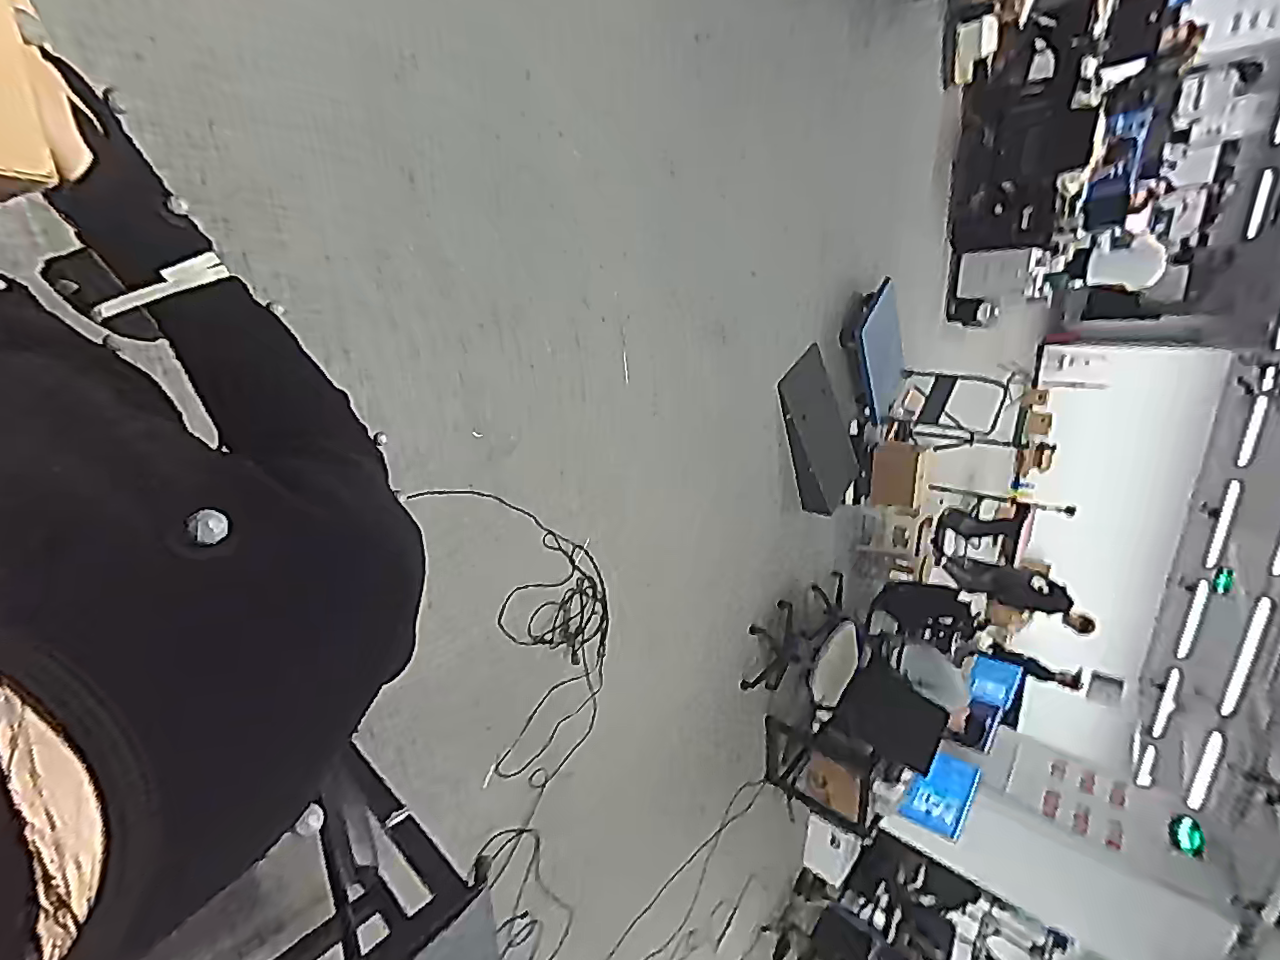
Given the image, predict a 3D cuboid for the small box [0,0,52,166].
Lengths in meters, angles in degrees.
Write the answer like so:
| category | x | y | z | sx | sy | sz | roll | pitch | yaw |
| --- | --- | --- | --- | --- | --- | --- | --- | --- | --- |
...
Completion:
| category | x | y | z | sx | sy | sz | roll | pitch | yaw |
| --- | --- | --- | --- | --- | --- | --- | --- | --- | --- |
| small box | -0.398 | -0.239 | 0.215 | 0.168 | 0.176 | 0.179 | -25 | 122 | -55 |
